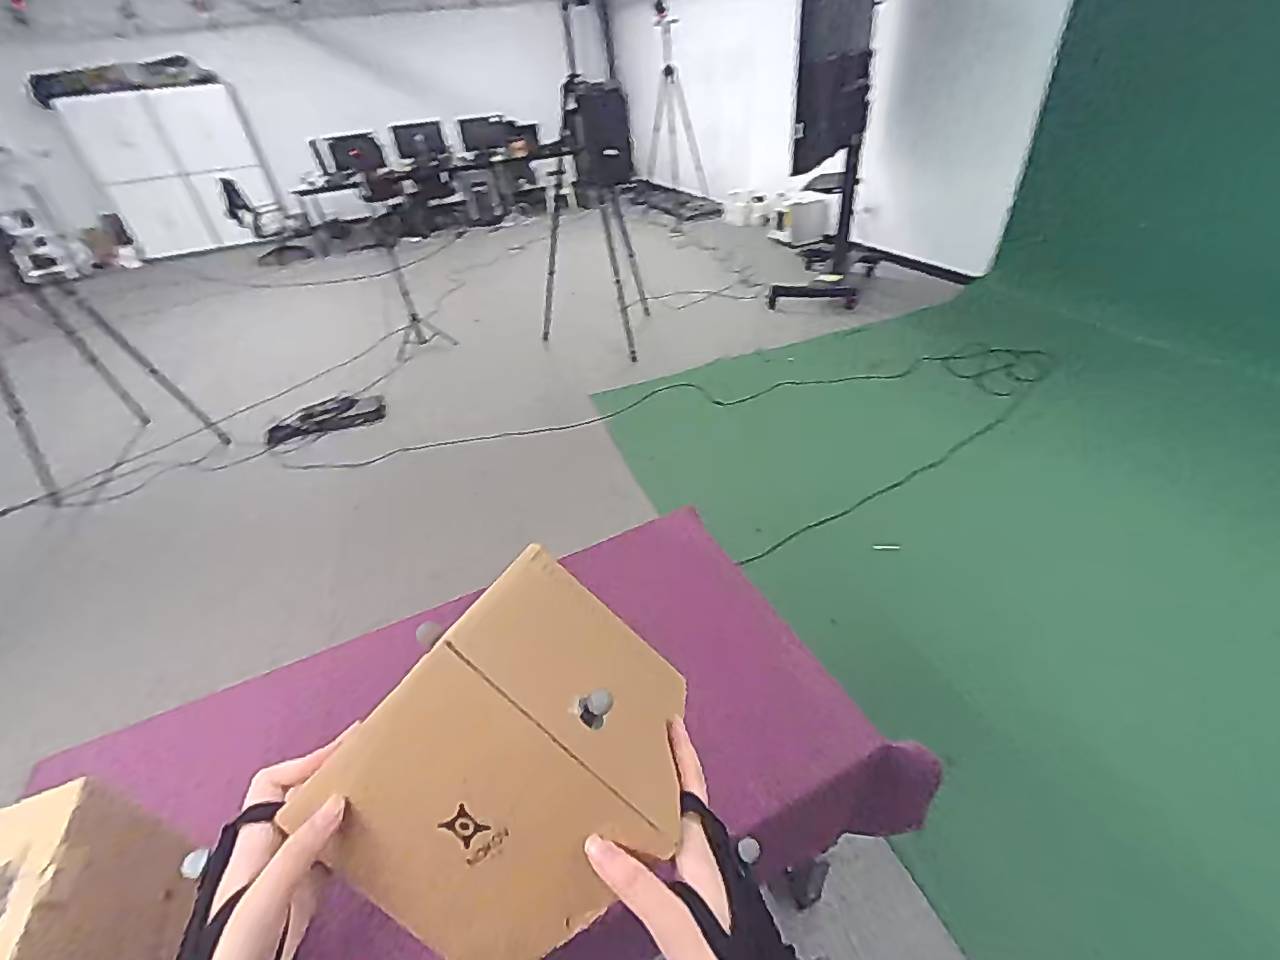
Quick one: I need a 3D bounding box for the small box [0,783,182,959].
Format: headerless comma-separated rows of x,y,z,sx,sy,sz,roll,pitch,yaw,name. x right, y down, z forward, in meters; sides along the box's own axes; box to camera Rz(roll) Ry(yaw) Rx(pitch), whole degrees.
-0.558,0.412,0.472,0.179,0.176,0.168,-19,39,-14,small box

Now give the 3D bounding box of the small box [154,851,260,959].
-0.547,0.544,0.569,0.179,0.176,0.168,-17,39,-15,small box
